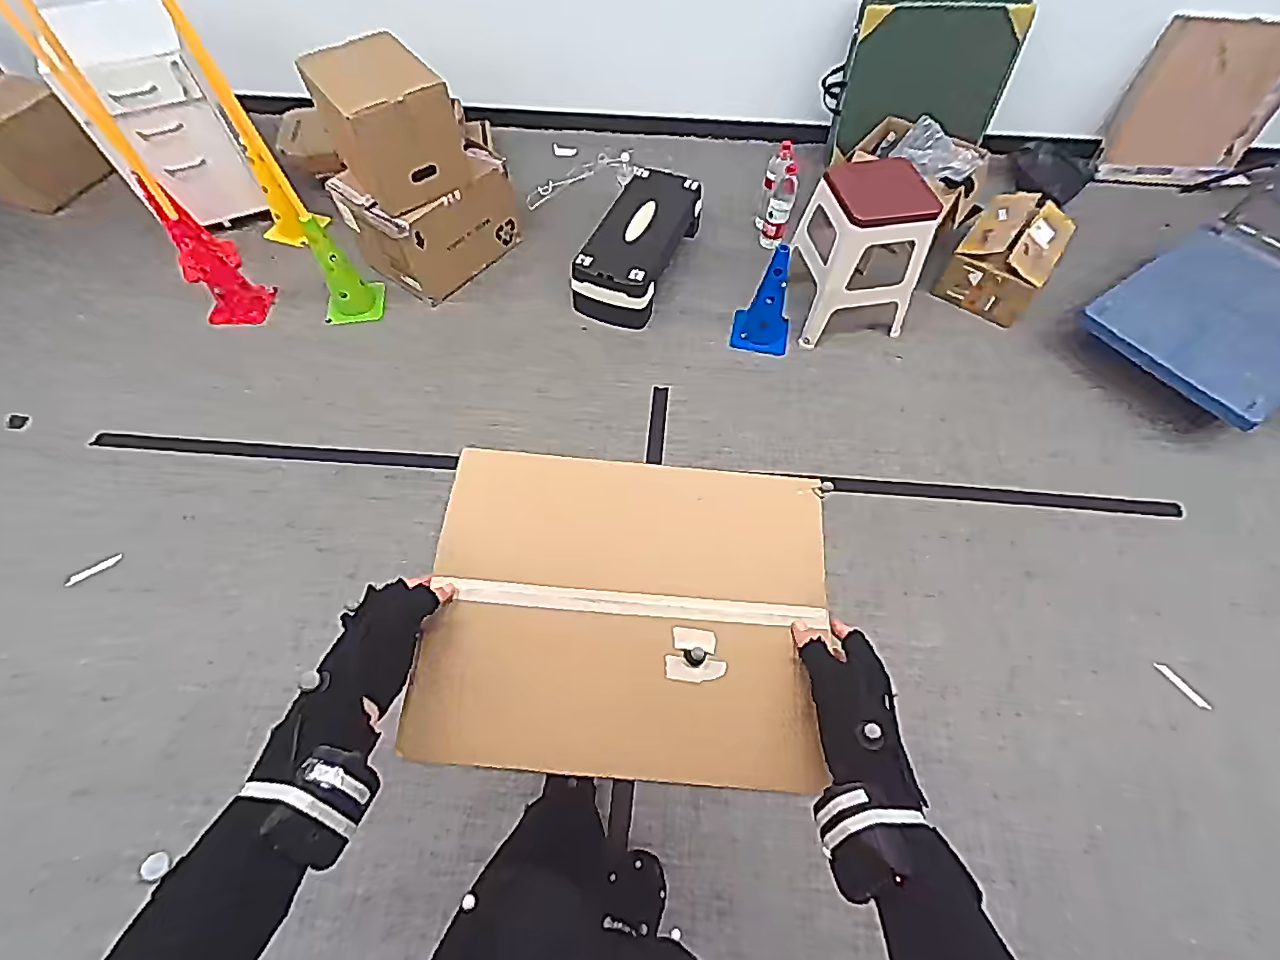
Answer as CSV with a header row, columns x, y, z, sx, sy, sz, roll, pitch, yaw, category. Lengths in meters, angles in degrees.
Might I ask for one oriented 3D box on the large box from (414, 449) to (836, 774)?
x,y,z,sx,sy,sz,roll,pitch,yaw,category
-0.013,0.178,0.696,0.408,0.320,0.320,6,68,-1,large box
